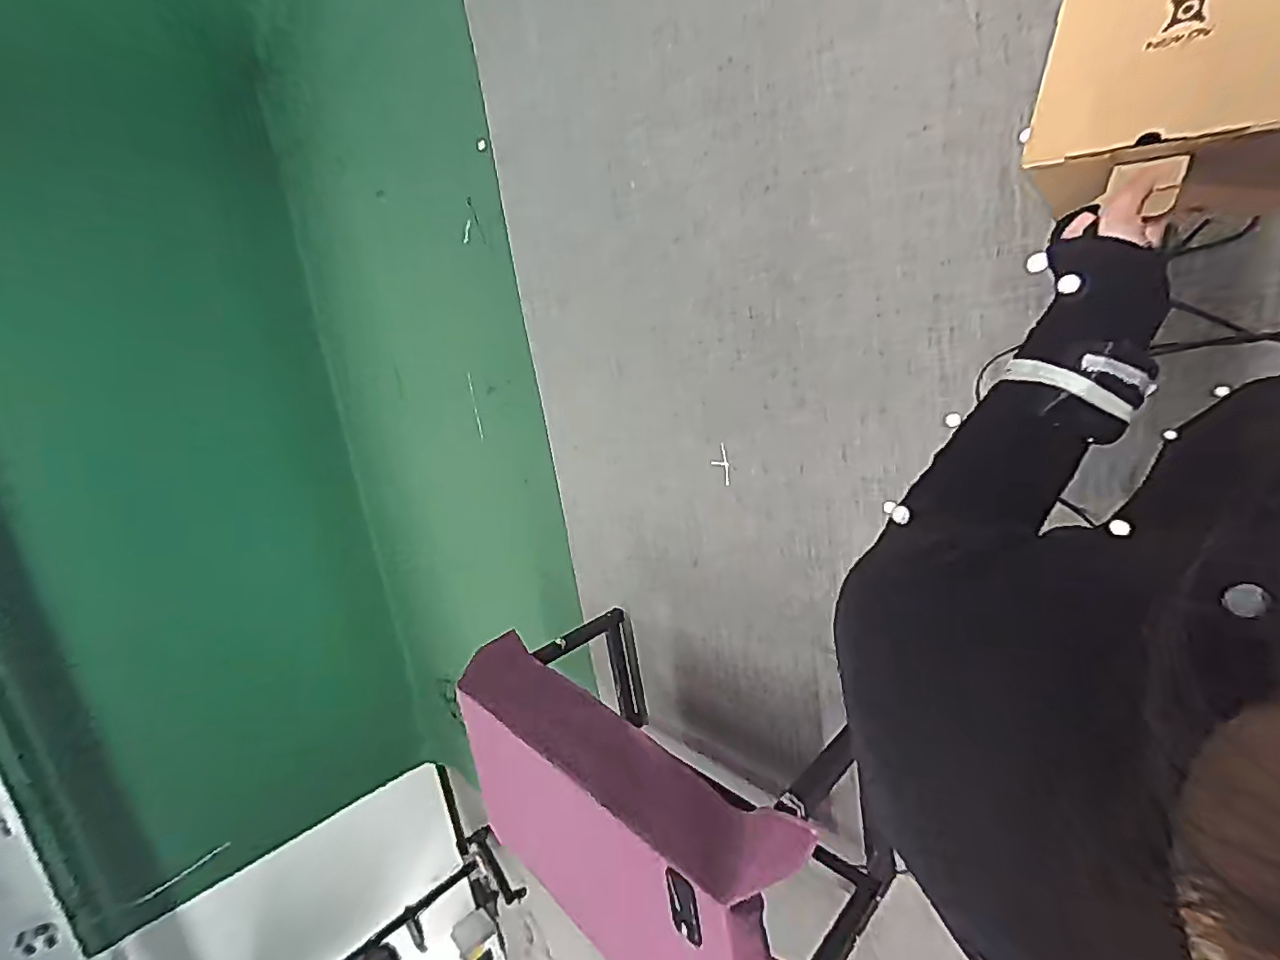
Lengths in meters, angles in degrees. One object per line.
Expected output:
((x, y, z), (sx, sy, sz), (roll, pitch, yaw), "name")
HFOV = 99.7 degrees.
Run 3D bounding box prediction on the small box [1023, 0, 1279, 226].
((0.463, -0.339, 0.460), (0.168, 0.176, 0.179), (20, 104, 46), "small box")
